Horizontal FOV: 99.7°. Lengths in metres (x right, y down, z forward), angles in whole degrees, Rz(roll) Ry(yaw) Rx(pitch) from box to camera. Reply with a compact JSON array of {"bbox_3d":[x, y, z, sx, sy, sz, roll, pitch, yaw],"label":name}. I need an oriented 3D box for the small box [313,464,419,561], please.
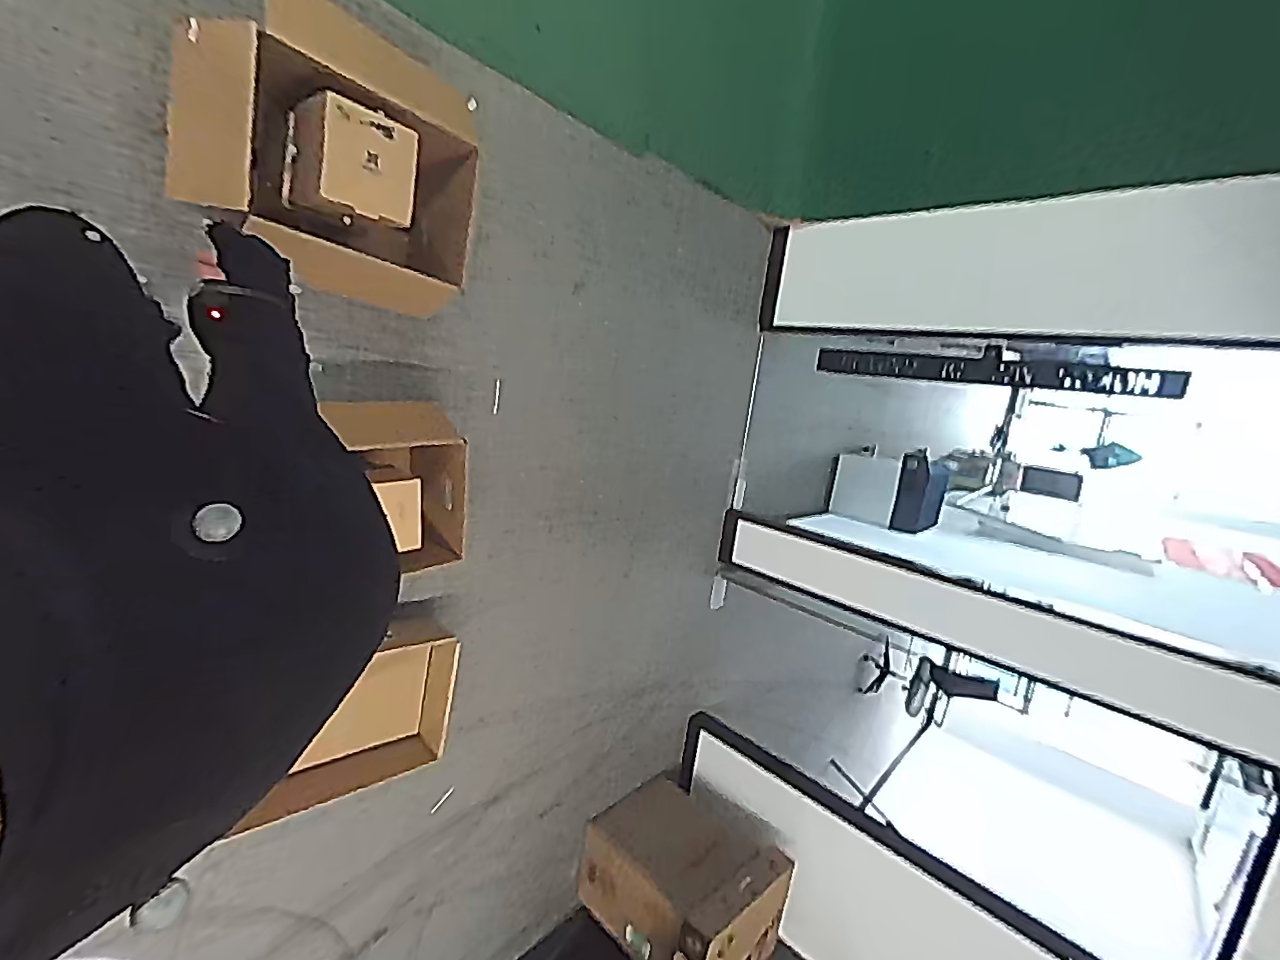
[{"bbox_3d":[-0.616,0.066,1.212,0.179,0.176,0.168,-9,110,-45],"label":"small box"}]
